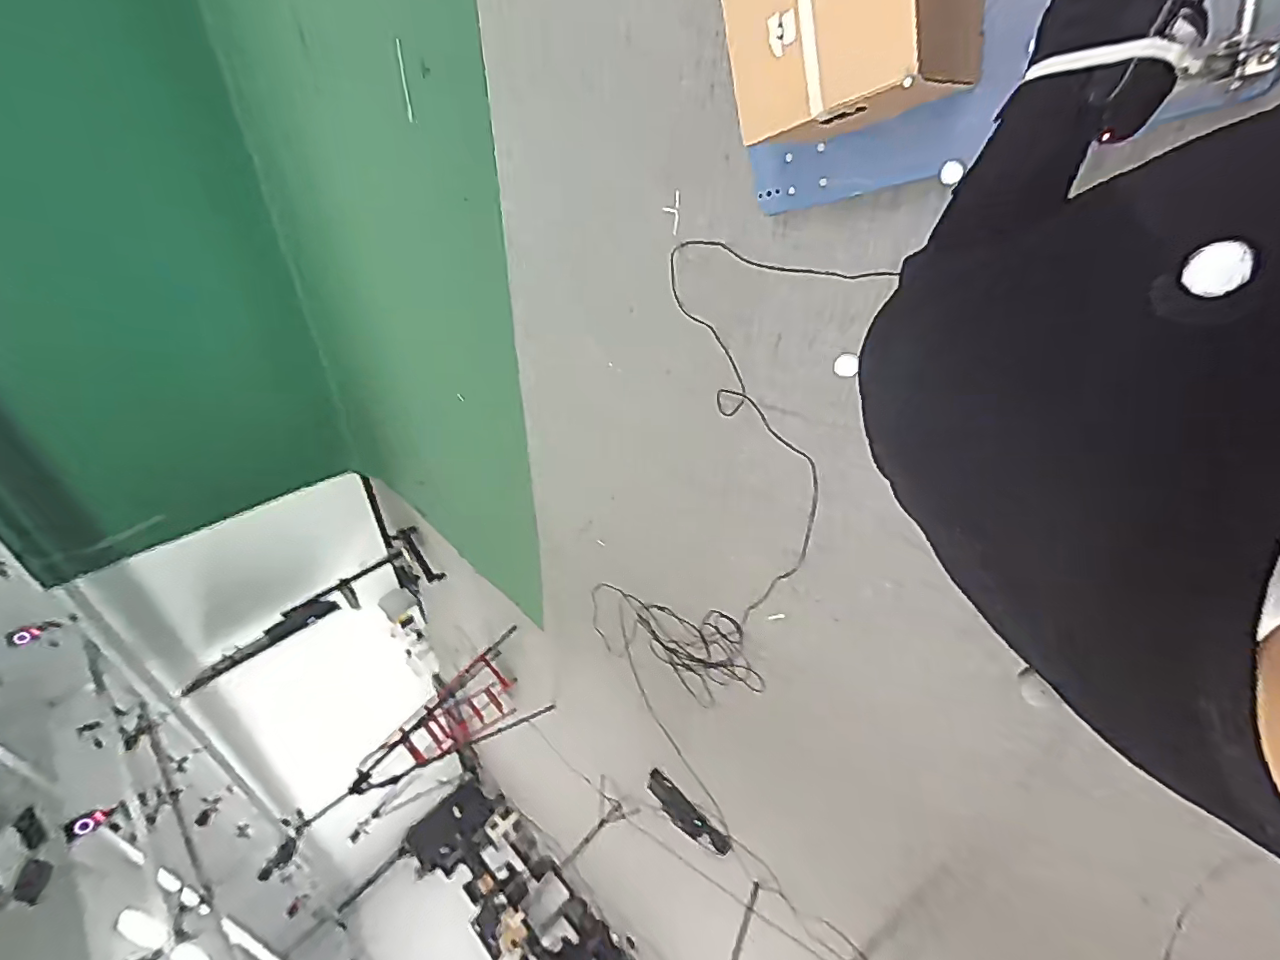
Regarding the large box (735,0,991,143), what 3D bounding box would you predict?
[{"bbox_3d":[0.373,-0.852,0.913,0.320,0.320,0.408,8,121,47],"label":"large box"}]
